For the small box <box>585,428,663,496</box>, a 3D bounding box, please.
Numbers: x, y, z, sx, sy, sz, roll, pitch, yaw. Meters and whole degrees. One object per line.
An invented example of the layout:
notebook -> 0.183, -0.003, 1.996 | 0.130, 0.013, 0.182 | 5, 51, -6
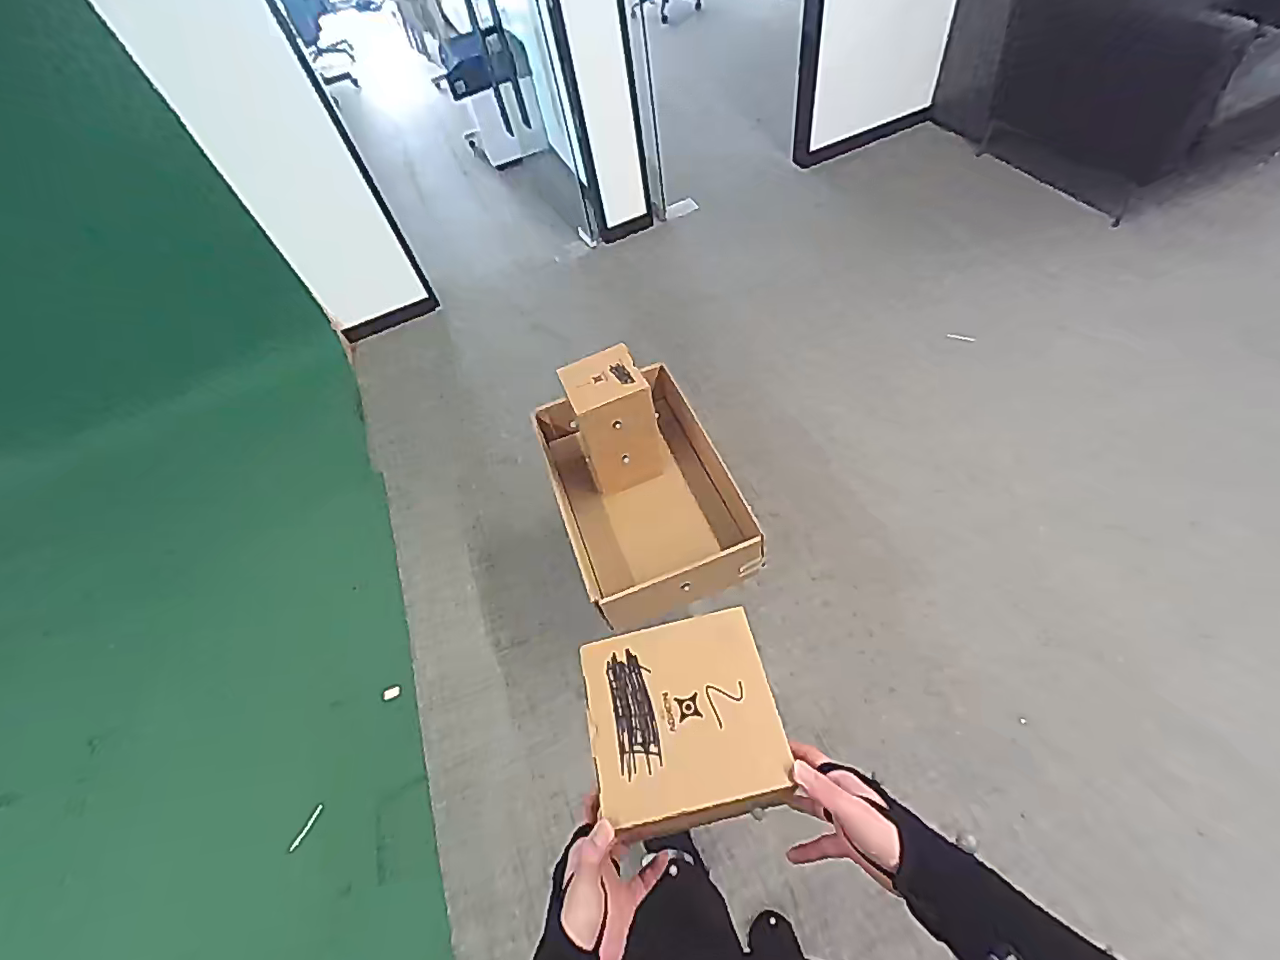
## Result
small box -> -0.046, -0.089, 1.416 | 0.179, 0.176, 0.168 | -21, 54, -5

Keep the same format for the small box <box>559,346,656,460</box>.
small box -> -0.070, -0.179, 1.280 | 0.179, 0.176, 0.168 | -23, 55, -5
